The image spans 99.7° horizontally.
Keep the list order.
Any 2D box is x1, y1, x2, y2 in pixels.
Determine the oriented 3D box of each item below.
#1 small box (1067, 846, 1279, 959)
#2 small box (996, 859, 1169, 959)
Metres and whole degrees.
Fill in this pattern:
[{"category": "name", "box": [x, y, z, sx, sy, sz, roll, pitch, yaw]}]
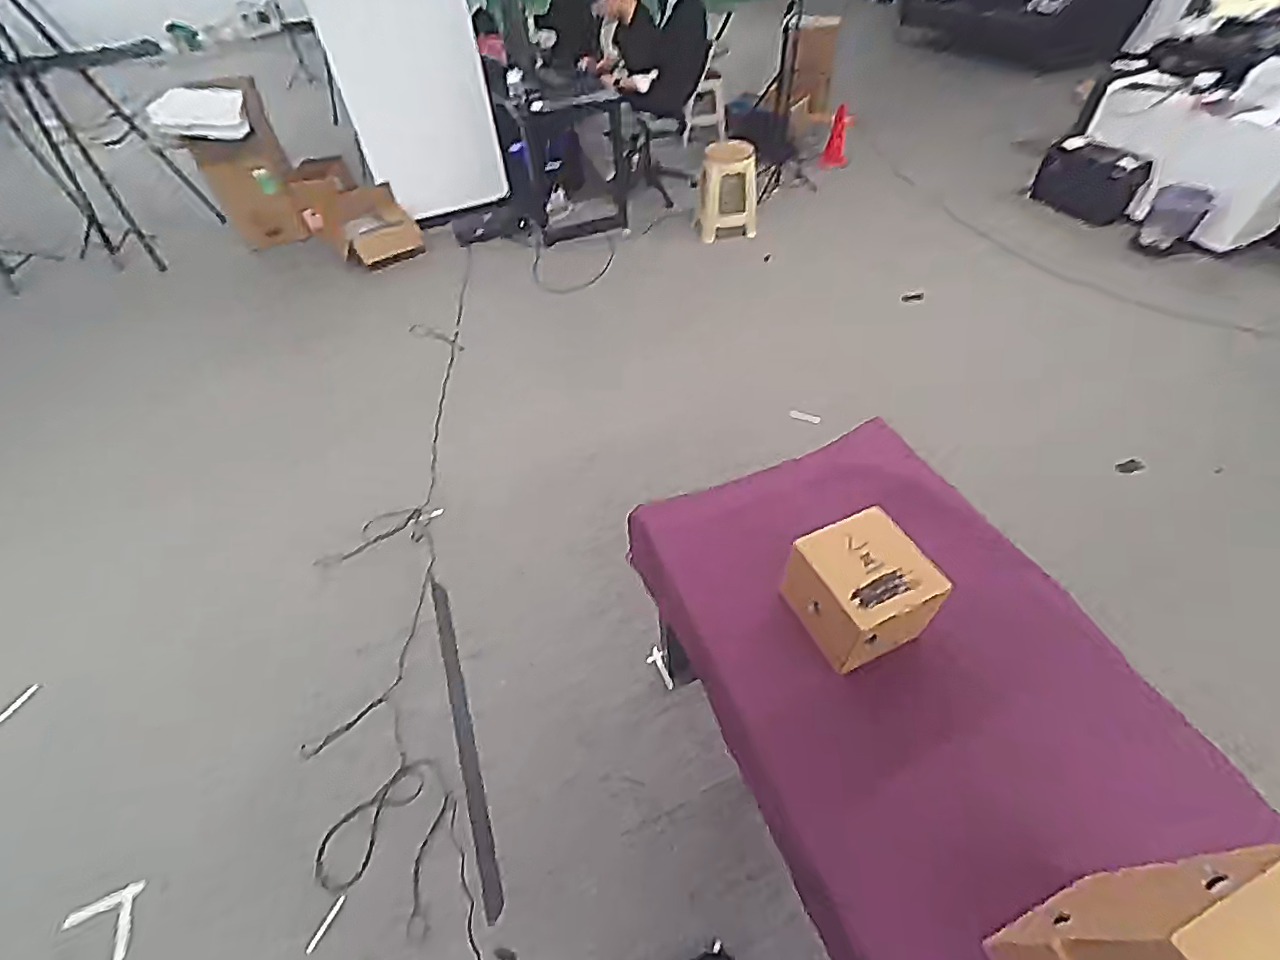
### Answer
[{"category": "small box", "box": [0.526, 0.437, 0.457, 0.179, 0.176, 0.168, -19, 51, -11]}, {"category": "small box", "box": [0.526, 0.545, 0.581, 0.179, 0.176, 0.168, -19, 51, -12]}]
